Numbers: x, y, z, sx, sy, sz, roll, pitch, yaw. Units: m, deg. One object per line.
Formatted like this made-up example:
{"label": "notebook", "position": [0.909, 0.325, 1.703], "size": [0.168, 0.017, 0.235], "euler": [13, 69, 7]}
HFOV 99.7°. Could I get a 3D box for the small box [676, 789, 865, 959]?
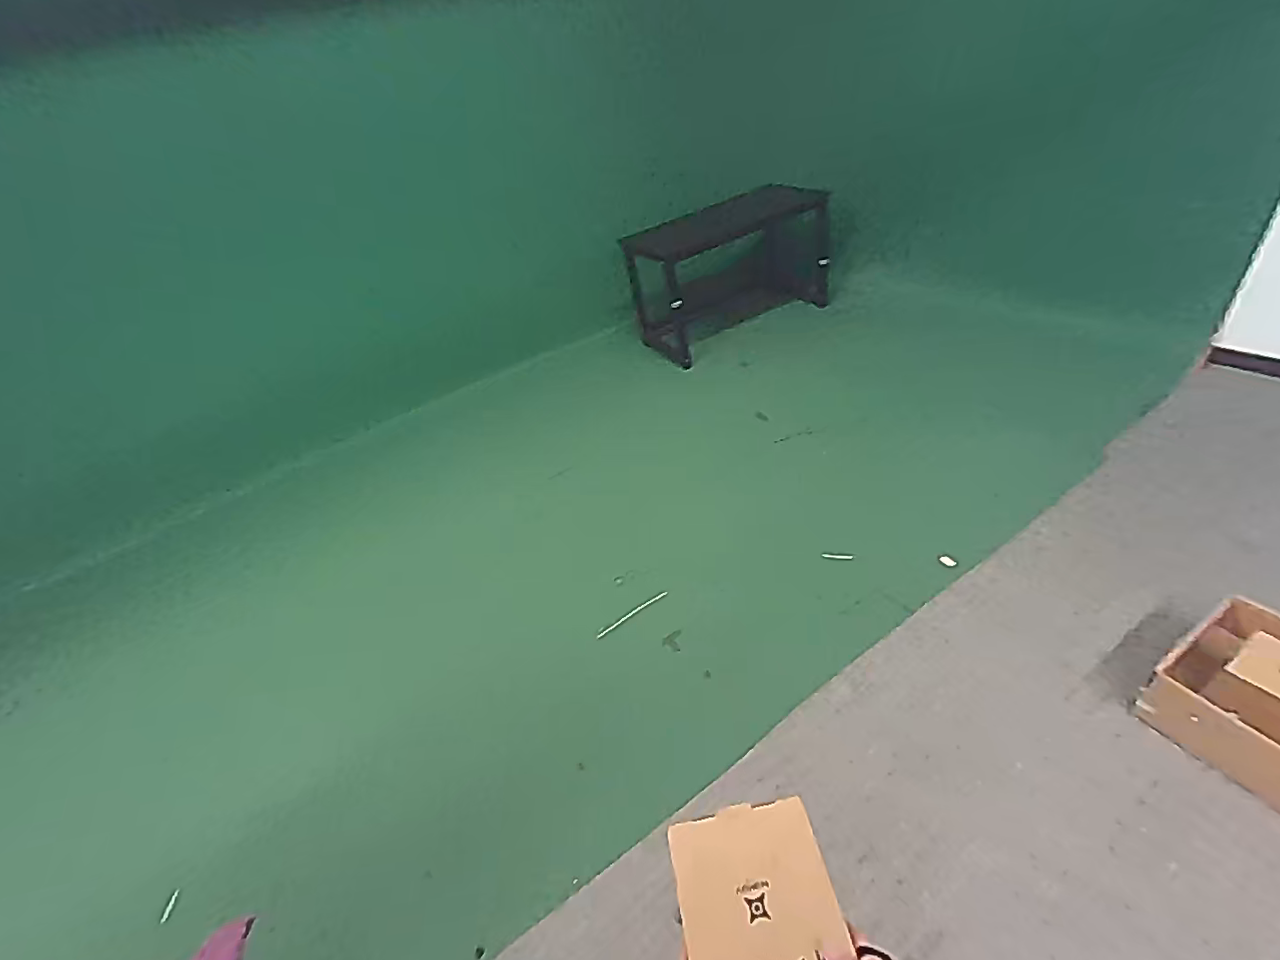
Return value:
{"label": "small box", "position": [0.143, 0.499, 0.630], "size": [0.168, 0.176, 0.179], "euler": [-12, 40, 0]}
